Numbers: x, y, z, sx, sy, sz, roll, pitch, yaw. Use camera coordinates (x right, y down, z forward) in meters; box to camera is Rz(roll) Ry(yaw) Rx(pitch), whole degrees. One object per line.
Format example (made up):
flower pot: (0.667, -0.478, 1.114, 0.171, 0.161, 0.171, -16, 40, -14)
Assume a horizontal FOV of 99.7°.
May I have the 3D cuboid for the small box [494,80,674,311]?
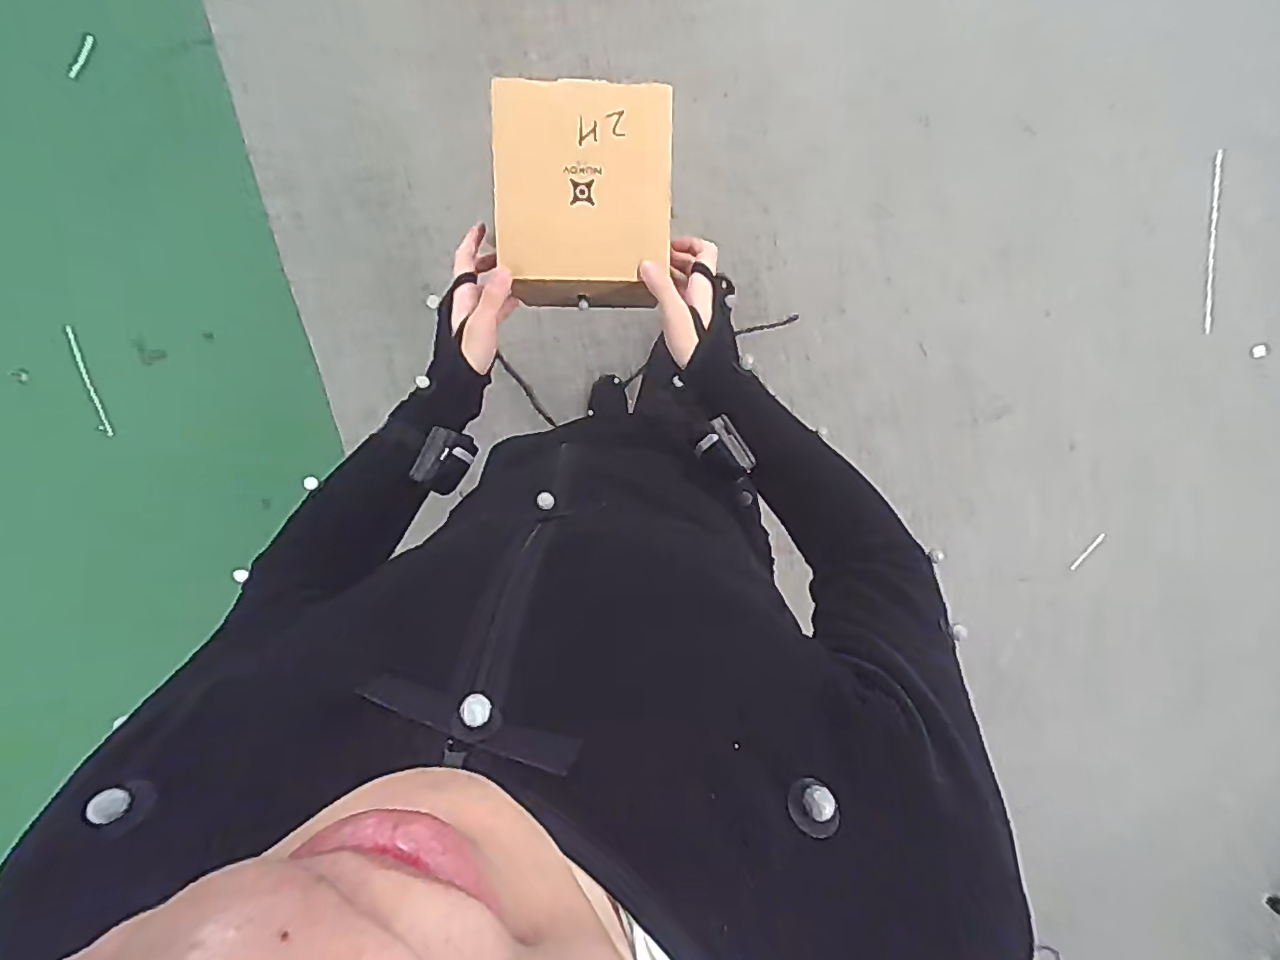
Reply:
small box: (-0.056, -0.283, 0.578, 0.168, 0.176, 0.179, 0, 98, -4)
